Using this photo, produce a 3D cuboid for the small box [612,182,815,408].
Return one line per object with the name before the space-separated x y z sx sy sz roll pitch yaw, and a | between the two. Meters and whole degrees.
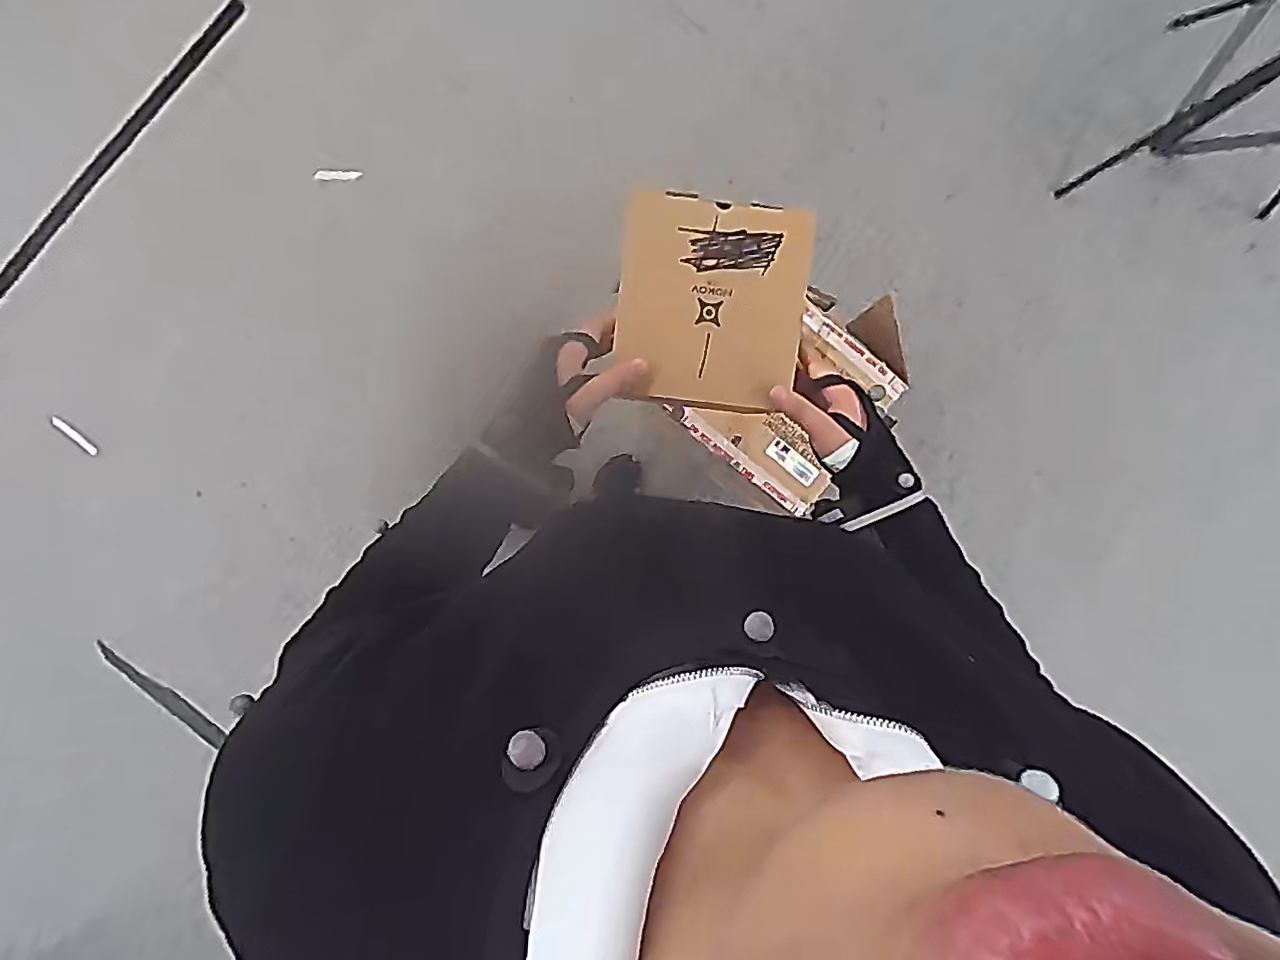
small box | 0.061 -0.171 0.555 0.168 0.176 0.179 6 97 -2
